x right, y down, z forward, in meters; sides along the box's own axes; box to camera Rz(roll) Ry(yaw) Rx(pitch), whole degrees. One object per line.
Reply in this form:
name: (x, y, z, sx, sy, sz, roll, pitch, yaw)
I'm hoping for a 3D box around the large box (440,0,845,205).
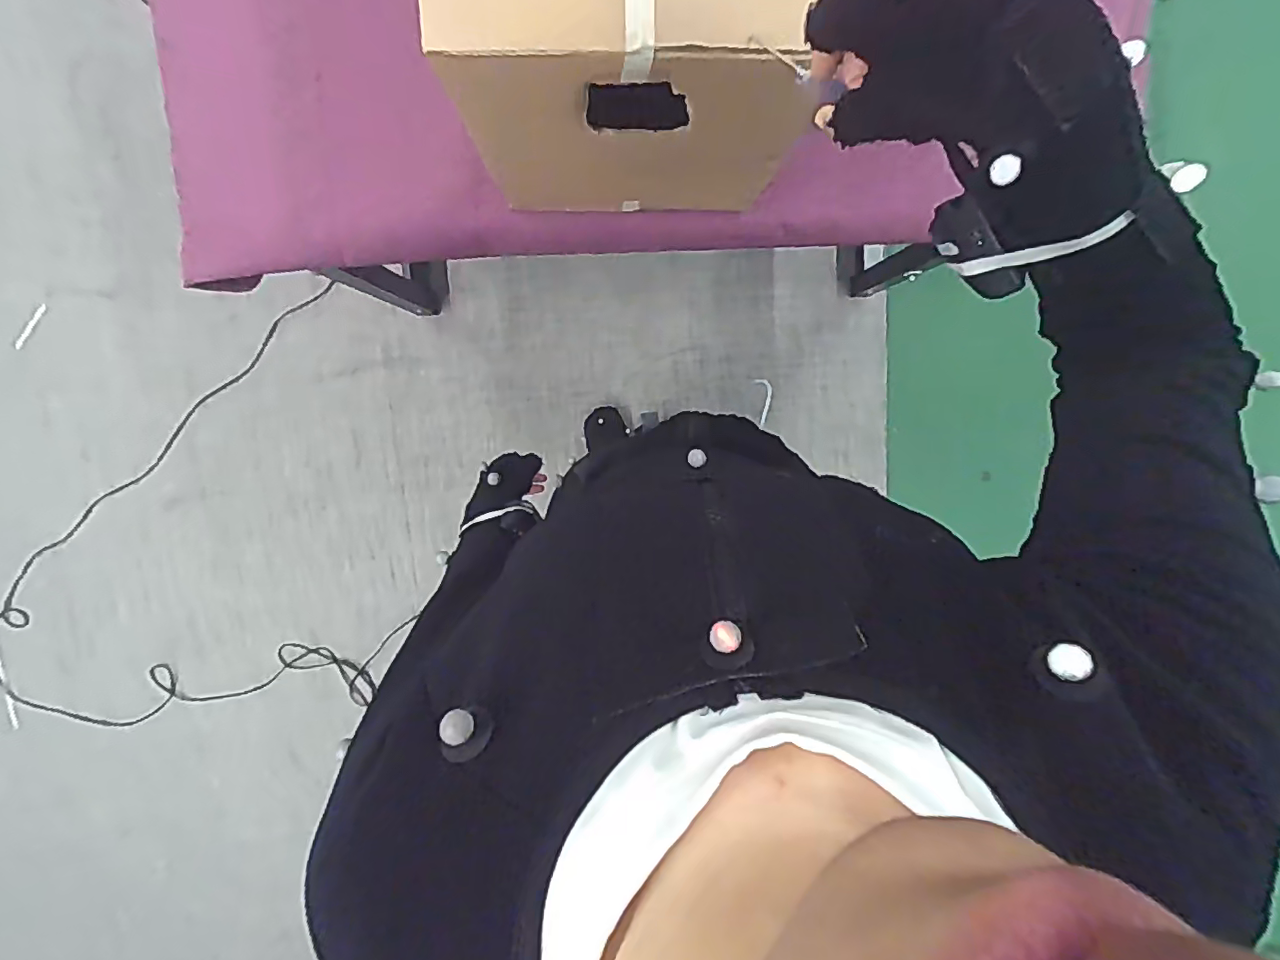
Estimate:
large box: (-0.007, -0.535, 0.529, 0.320, 0.320, 0.408, -1, 99, -2)
